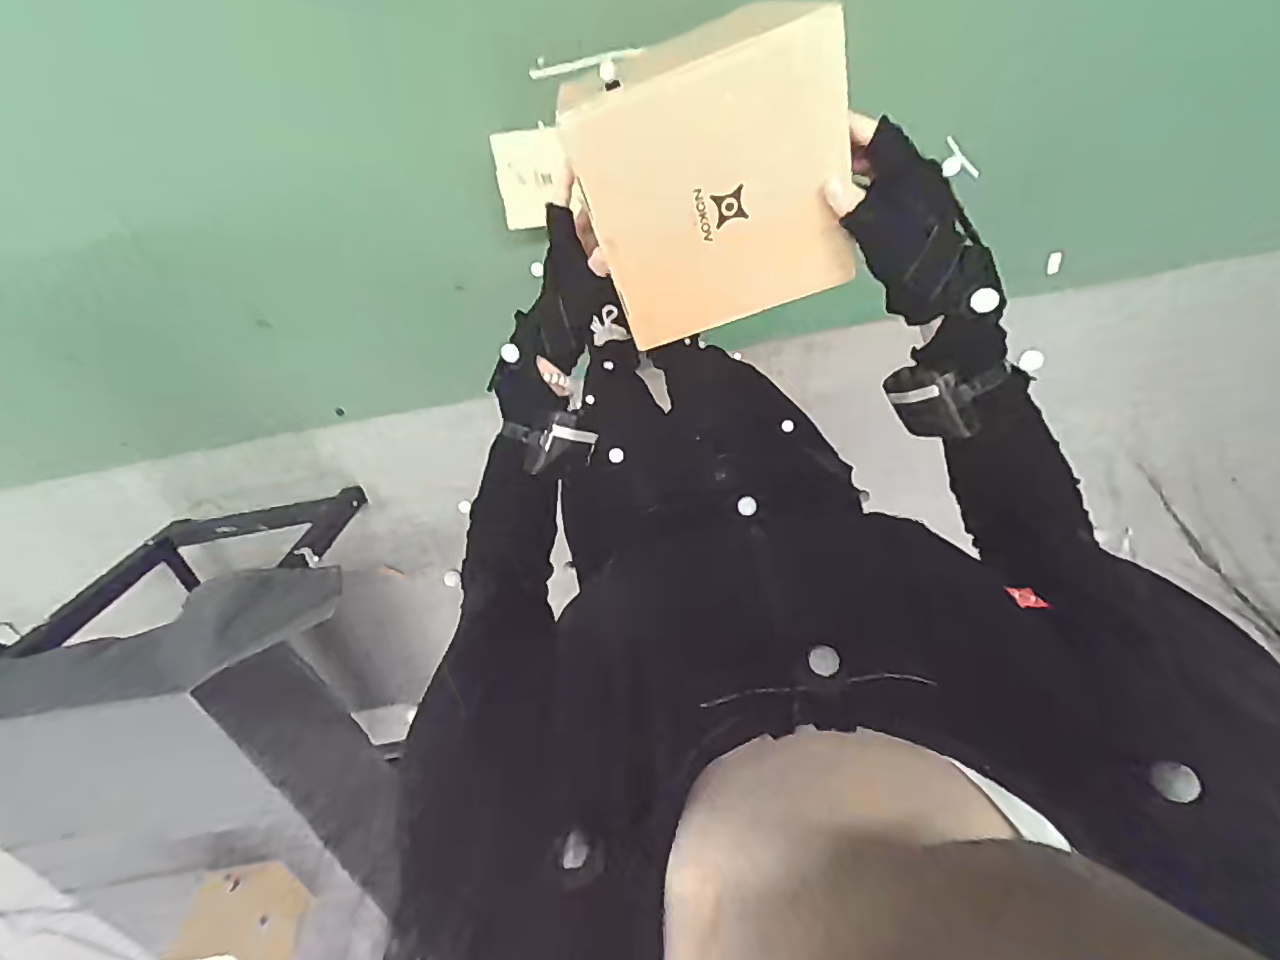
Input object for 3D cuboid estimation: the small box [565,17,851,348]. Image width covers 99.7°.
[{"bbox_3d":[0.048,-0.238,0.429,0.179,0.176,0.168,-17,130,7],"label":"small box"}]
